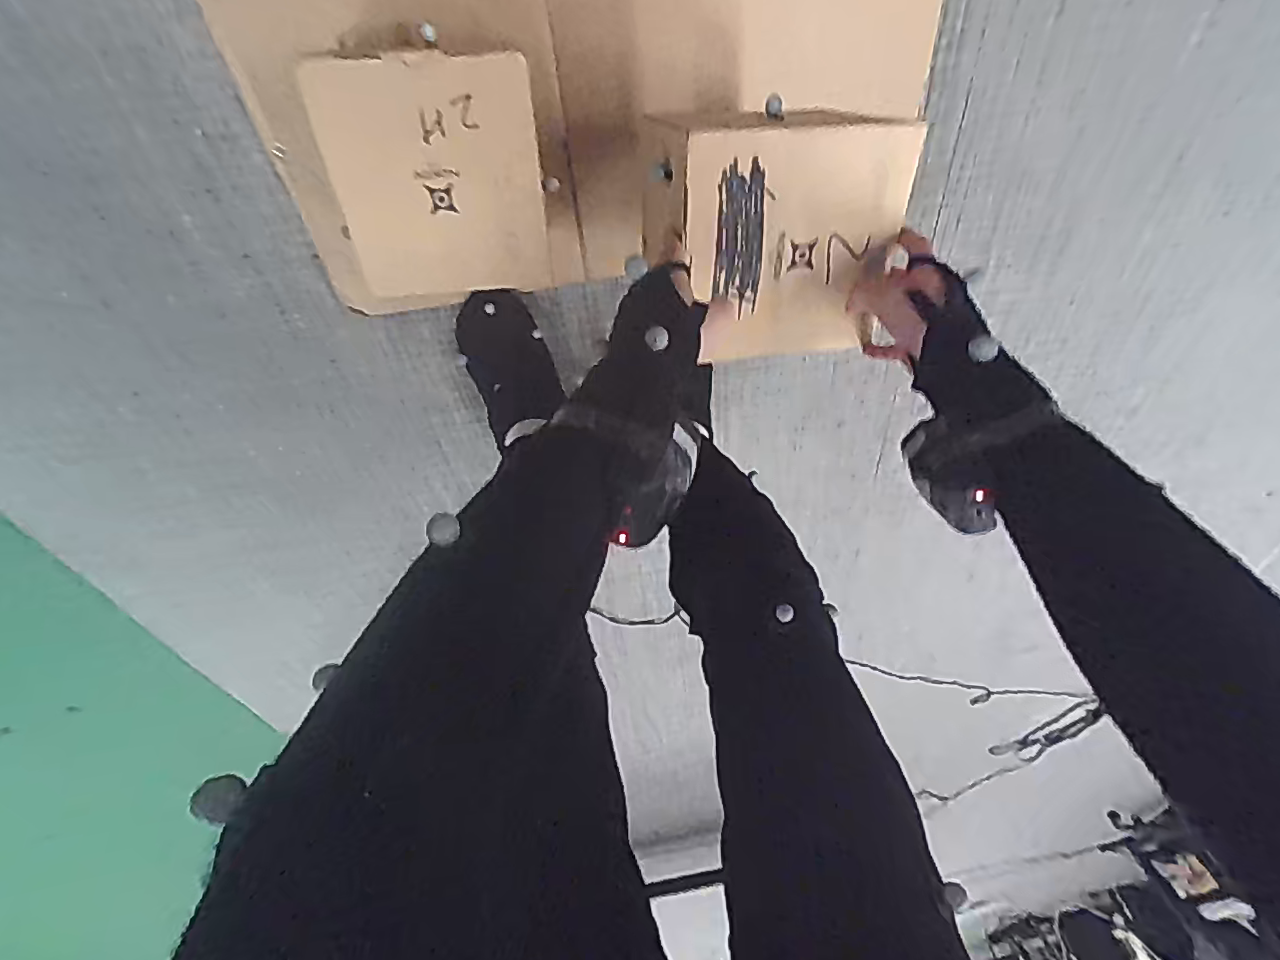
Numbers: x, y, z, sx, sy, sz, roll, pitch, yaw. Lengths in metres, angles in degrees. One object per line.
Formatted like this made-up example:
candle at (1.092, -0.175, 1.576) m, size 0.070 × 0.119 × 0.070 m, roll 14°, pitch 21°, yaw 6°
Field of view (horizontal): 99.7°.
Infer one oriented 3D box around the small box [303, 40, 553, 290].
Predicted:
small box at (-0.174, -0.299, 0.509) m, size 0.168 × 0.176 × 0.179 m, roll -7°, pitch 130°, yaw -7°
